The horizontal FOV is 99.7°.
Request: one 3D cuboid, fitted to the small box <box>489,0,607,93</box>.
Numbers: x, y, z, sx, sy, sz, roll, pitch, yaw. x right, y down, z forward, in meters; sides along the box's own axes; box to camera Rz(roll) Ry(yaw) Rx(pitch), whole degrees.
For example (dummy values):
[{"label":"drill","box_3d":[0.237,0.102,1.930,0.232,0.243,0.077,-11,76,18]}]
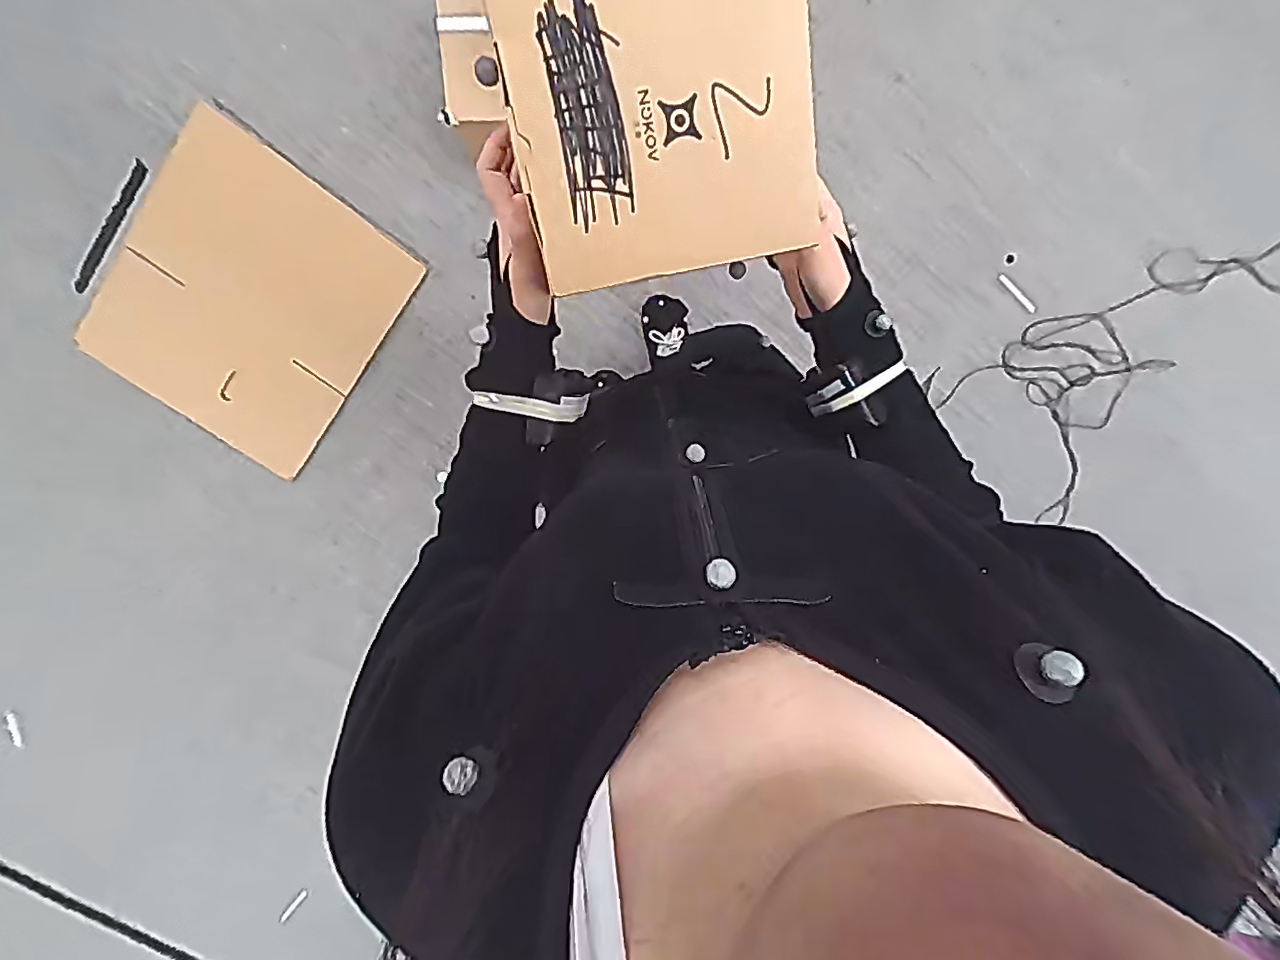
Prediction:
[{"label":"small box","box_3d":[-0.149,-0.778,0.907,0.179,0.176,0.168,-4,106,-2]}]
